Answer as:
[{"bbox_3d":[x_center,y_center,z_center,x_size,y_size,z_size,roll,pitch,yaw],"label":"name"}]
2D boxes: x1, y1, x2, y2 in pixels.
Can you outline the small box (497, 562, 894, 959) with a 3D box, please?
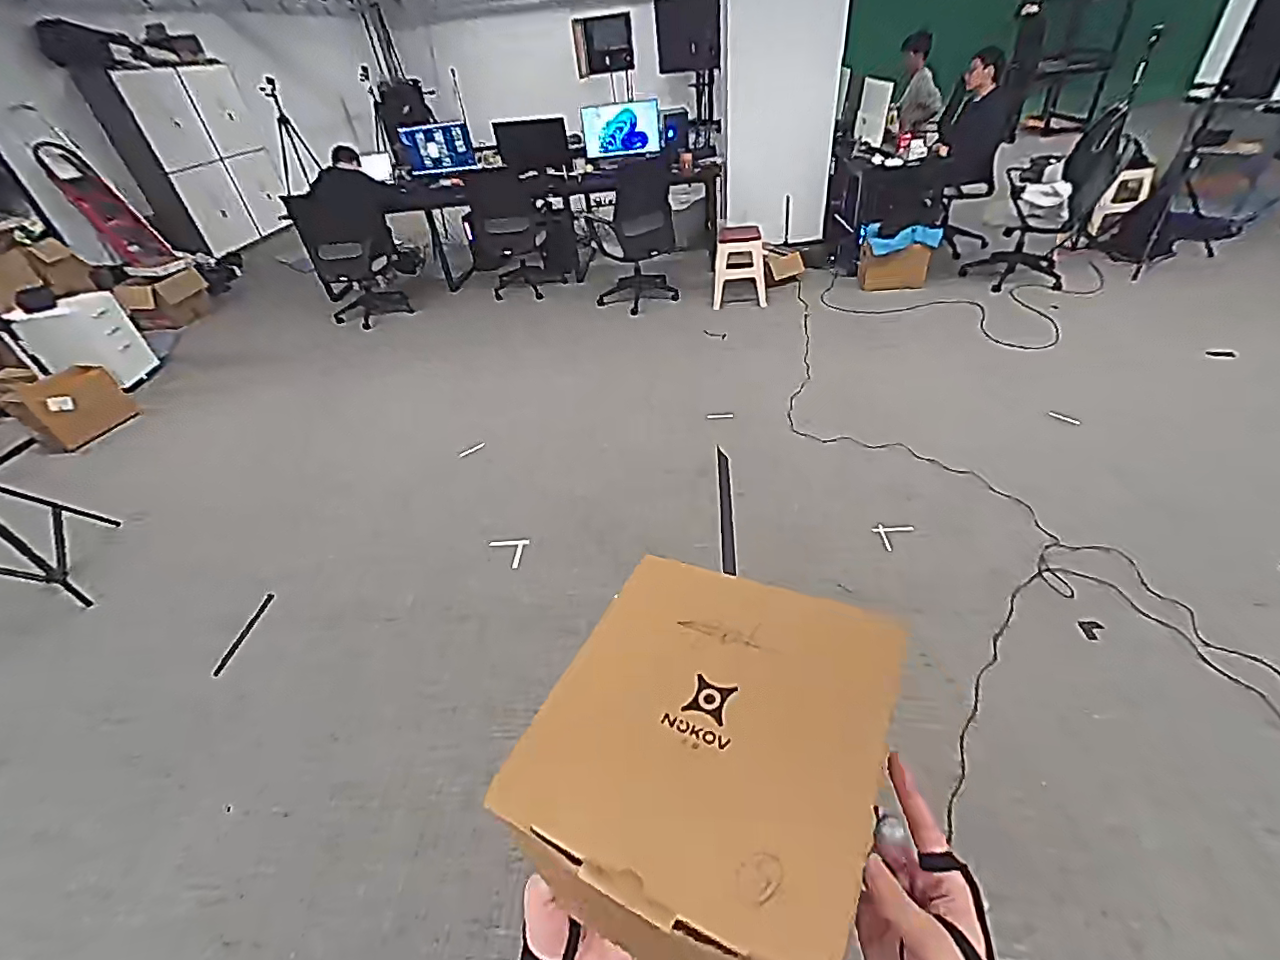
[{"bbox_3d":[0.051,0.184,0.334,0.168,0.176,0.179,10,41,27],"label":"small box"}]
